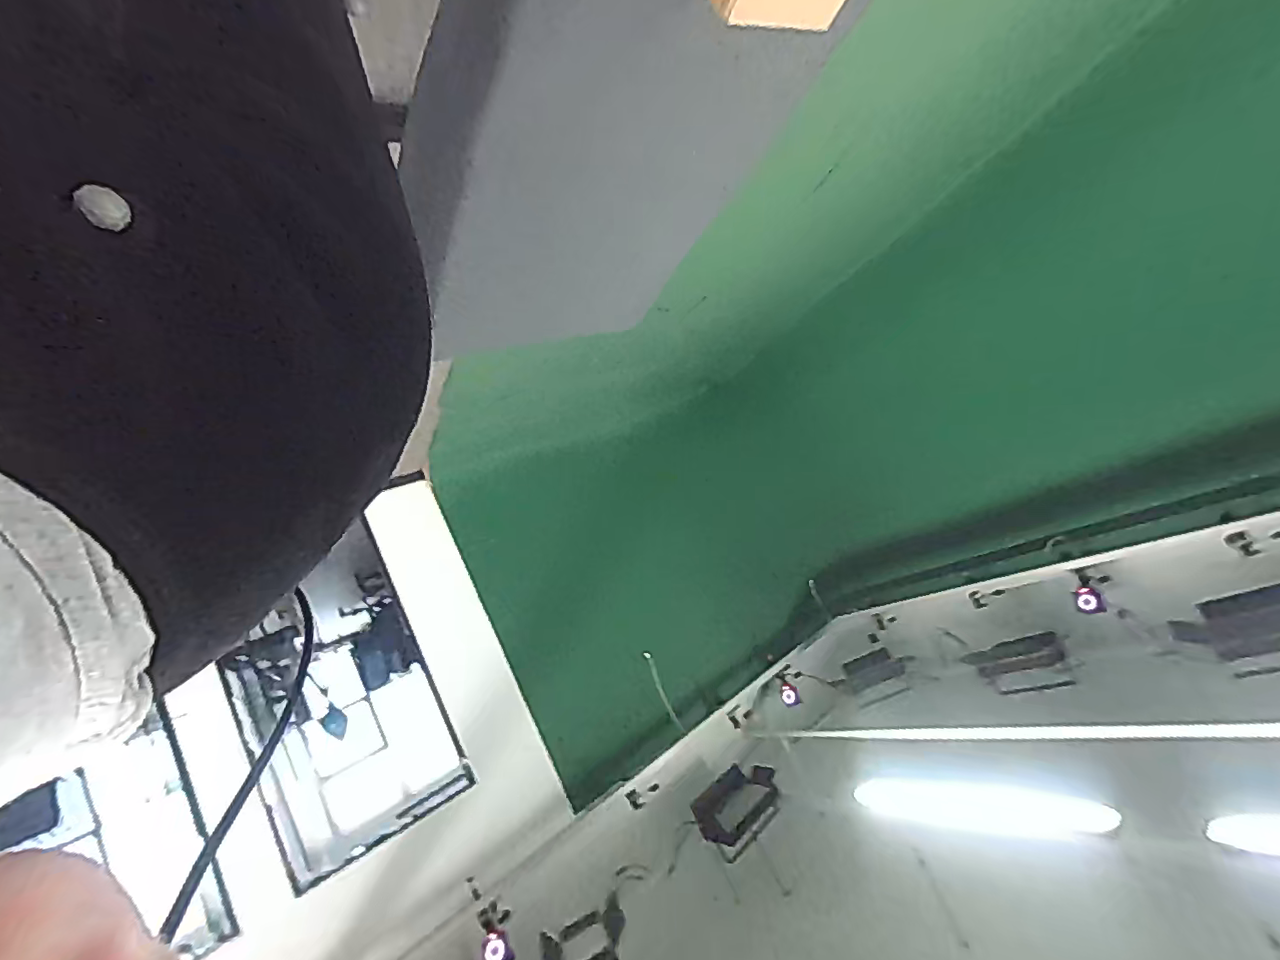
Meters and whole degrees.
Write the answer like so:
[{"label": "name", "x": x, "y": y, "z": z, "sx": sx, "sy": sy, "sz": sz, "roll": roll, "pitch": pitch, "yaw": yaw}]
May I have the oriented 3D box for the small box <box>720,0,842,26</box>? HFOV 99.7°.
[{"label": "small box", "x": 0.150, "y": -0.626, "z": 0.565, "sx": 0.179, "sy": 0.176, "sz": 0.168, "roll": -25, "pitch": 172, "yaw": -27}]
